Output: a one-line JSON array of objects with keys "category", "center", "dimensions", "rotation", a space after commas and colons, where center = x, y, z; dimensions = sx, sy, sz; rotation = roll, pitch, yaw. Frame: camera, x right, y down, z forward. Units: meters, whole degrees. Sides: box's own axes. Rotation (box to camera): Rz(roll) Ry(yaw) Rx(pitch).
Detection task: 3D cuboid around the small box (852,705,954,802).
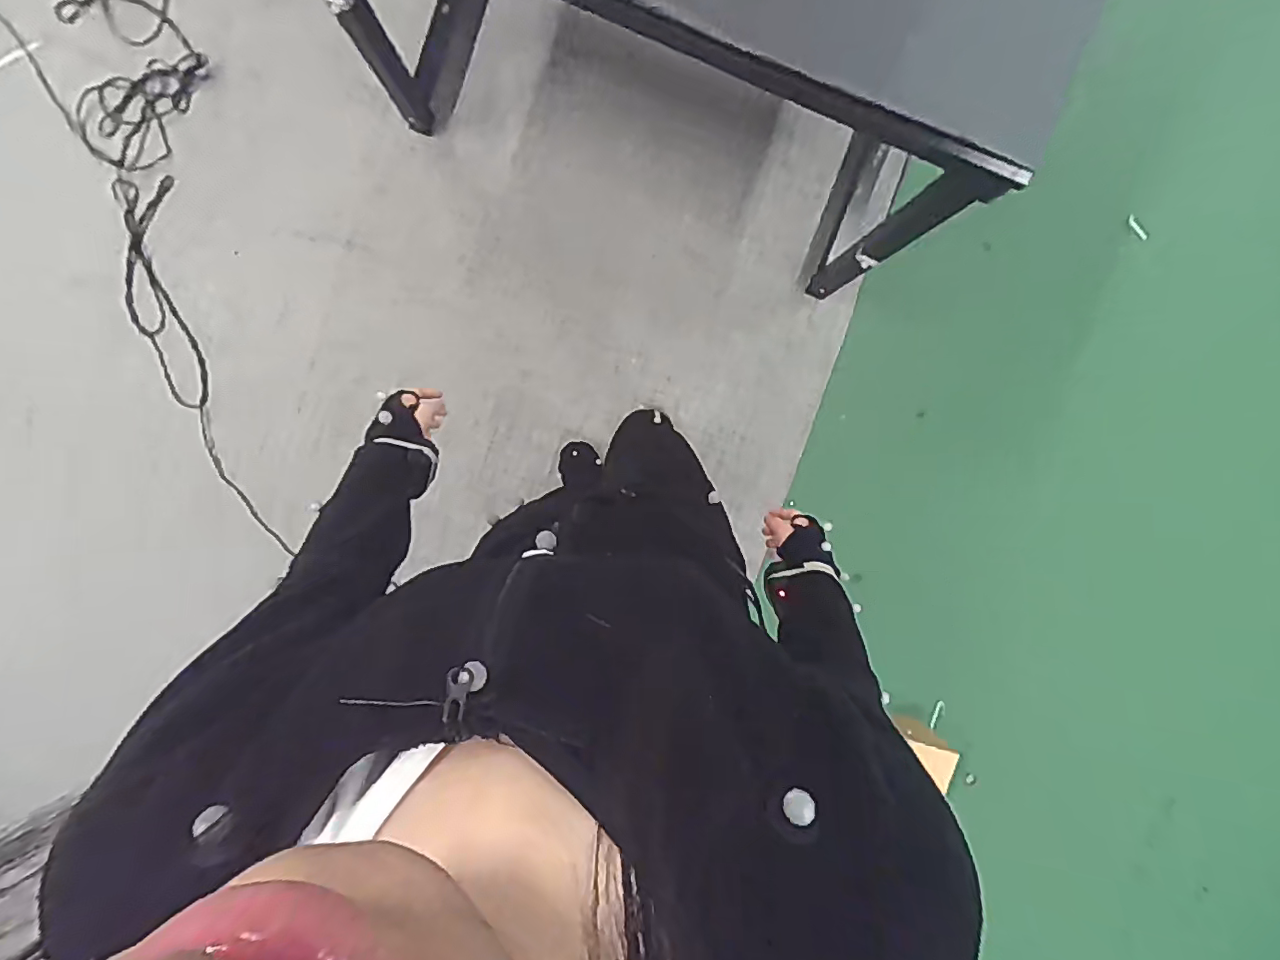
[{"category": "small box", "center": [0.741, 0.770, 1.540], "dimensions": [0.179, 0.176, 0.168], "rotation": [17, 94, -5]}]
